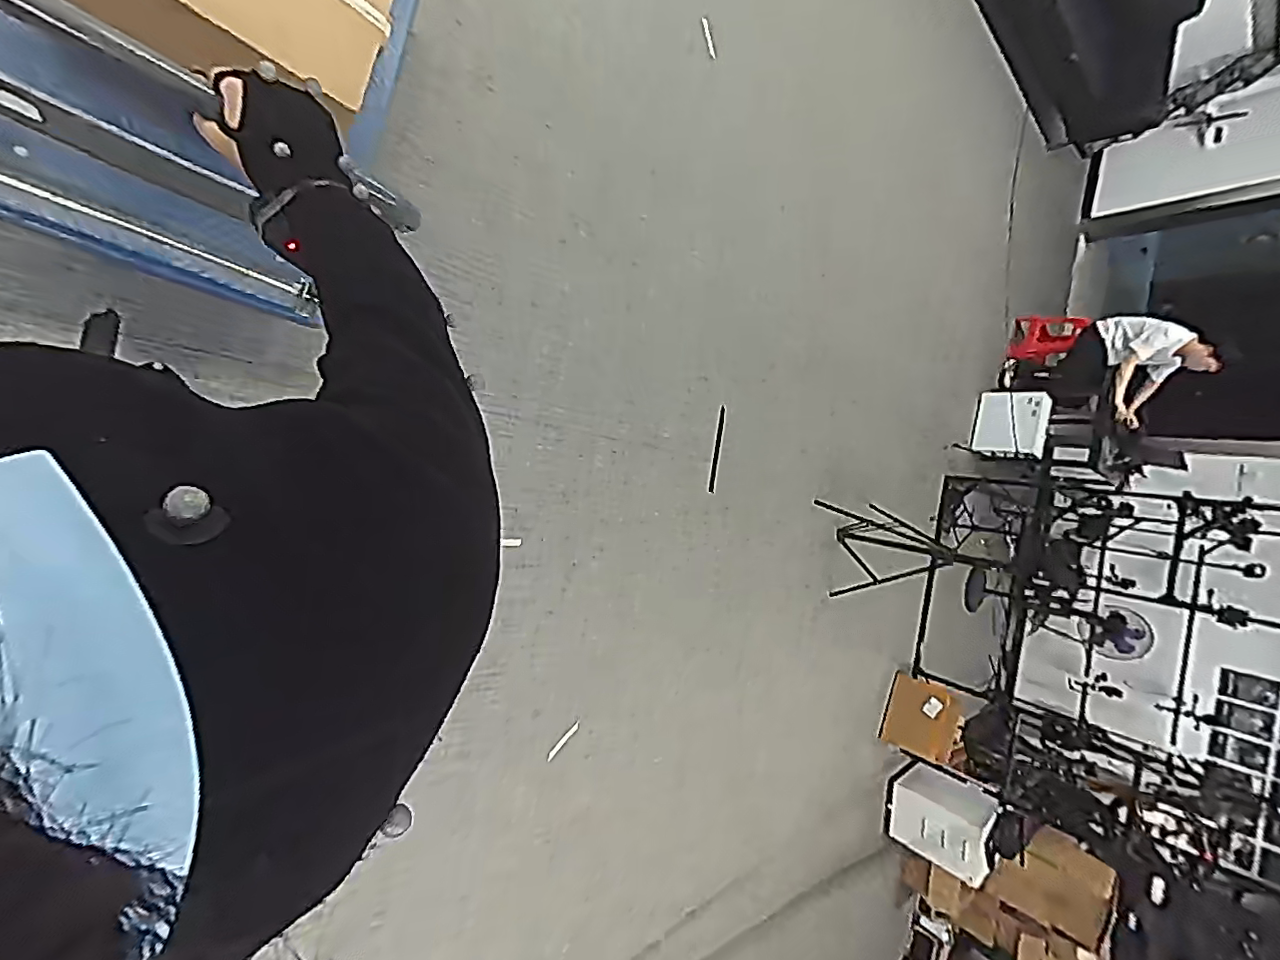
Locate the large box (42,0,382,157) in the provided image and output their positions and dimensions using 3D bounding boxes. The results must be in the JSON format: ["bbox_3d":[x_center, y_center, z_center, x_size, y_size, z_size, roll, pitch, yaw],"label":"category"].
[{"bbox_3d":[-0.677,-0.830,0.887,0.408,0.320,0.320,17,85,-40],"label":"large box"}]
